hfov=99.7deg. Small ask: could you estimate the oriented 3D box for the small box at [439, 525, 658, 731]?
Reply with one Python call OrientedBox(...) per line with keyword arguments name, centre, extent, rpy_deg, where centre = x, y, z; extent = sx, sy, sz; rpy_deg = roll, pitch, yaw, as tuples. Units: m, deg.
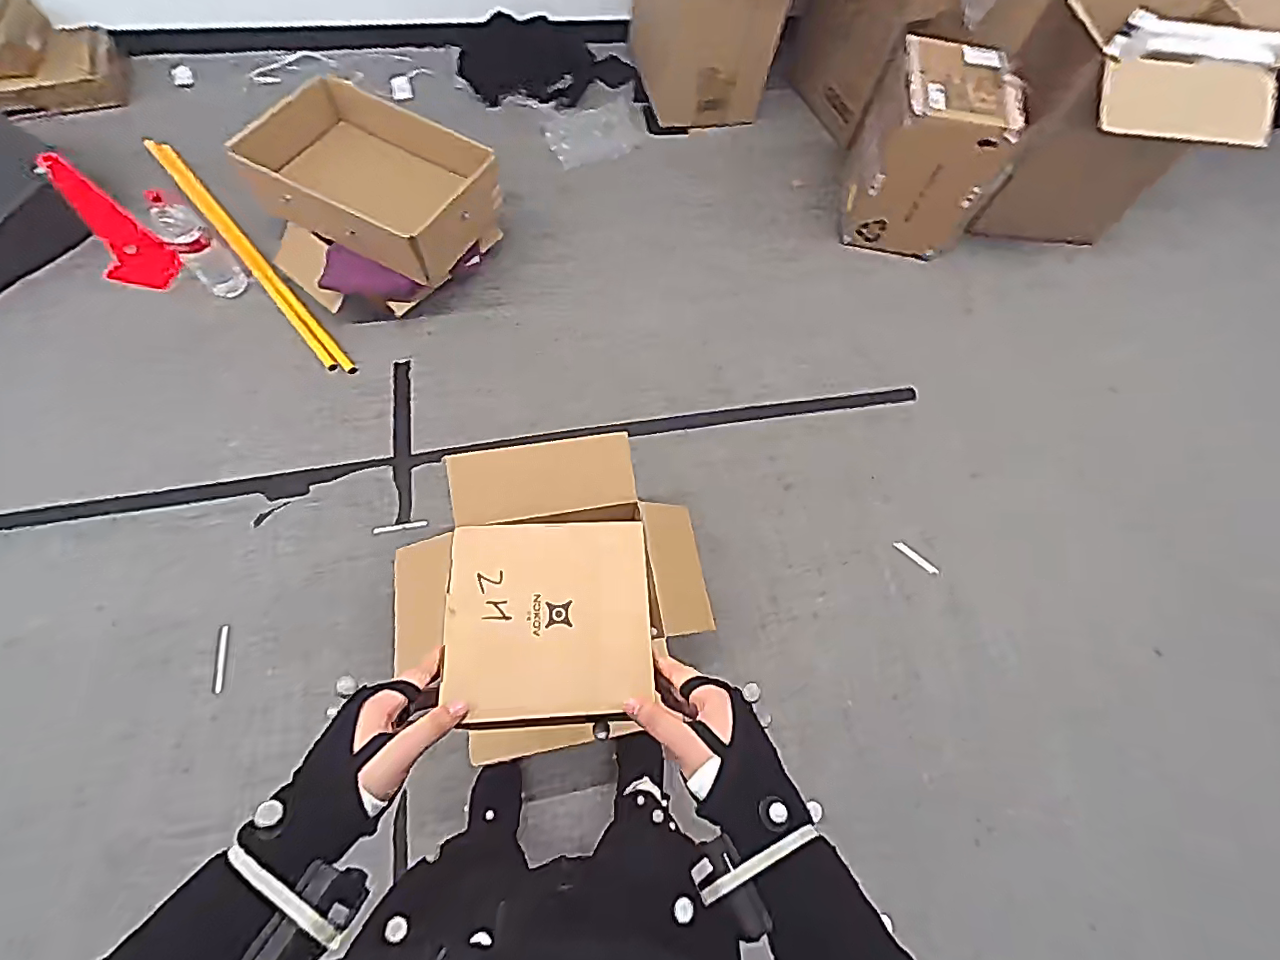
OrientedBox(name="small box", centre=(-0.083, 0.152, 0.536), extent=(0.179, 0.176, 0.168), rpy_deg=(-2, 64, -6))
